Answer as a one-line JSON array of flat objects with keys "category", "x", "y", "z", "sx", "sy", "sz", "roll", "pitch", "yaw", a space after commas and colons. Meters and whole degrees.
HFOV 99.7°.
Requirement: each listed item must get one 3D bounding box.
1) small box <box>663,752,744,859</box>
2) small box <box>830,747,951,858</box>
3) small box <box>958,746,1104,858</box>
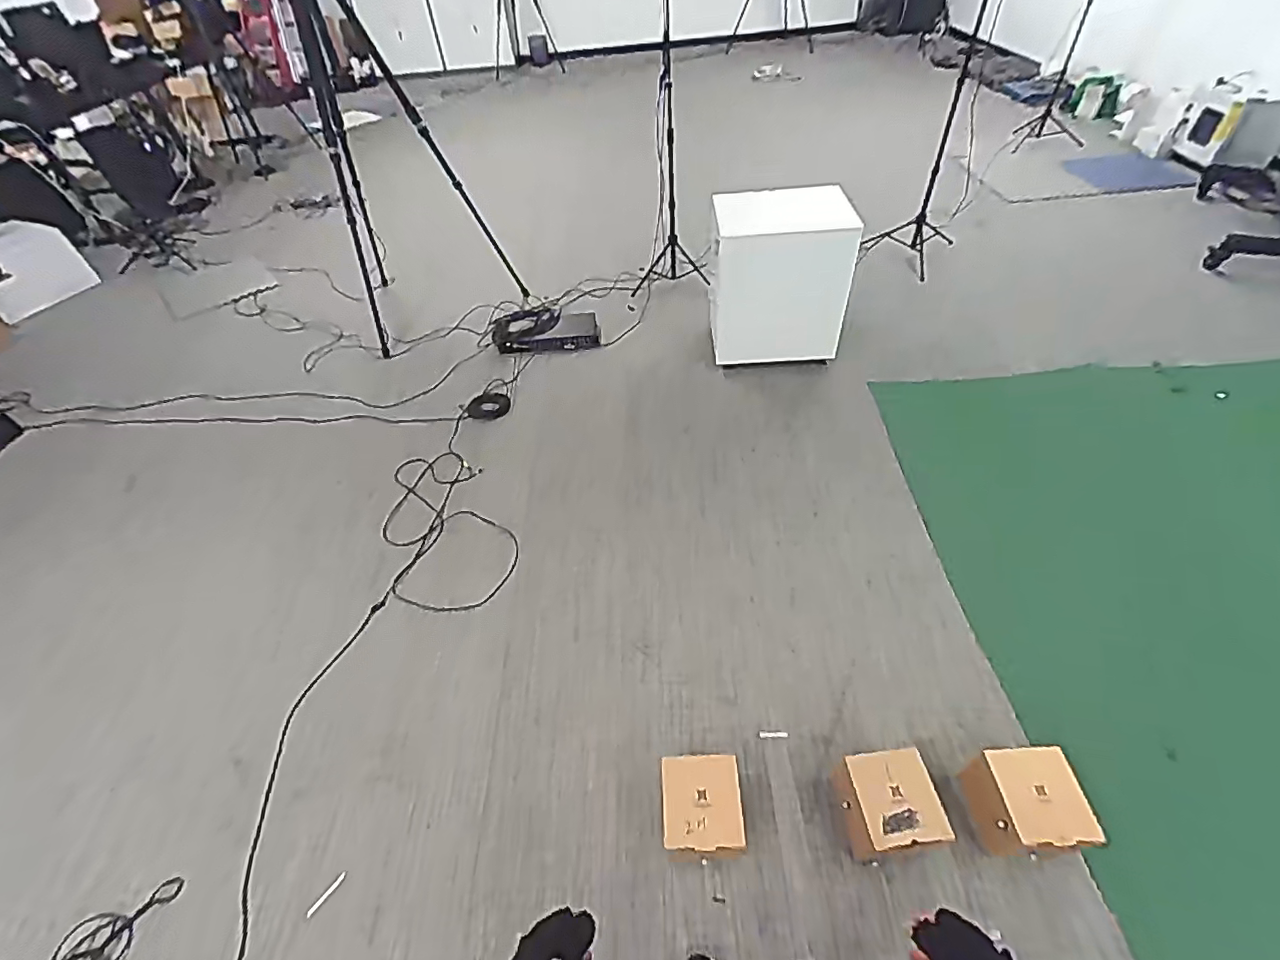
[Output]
[{"category": "small box", "x": 0.135, "y": 0.726, "z": 1.202, "sx": 0.168, "sy": 0.176, "sz": 0.179, "roll": -3, "pitch": 48, "yaw": 3}, {"category": "small box", "x": 0.536, "y": 0.710, "z": 1.185, "sx": 0.168, "sy": 0.176, "sz": 0.179, "roll": -6, "pitch": 46, "yaw": -1}, {"category": "small box", "x": 0.829, "y": 0.698, "z": 1.173, "sx": 0.168, "sy": 0.176, "sz": 0.179, "roll": -4, "pitch": 47, "yaw": 2}]
